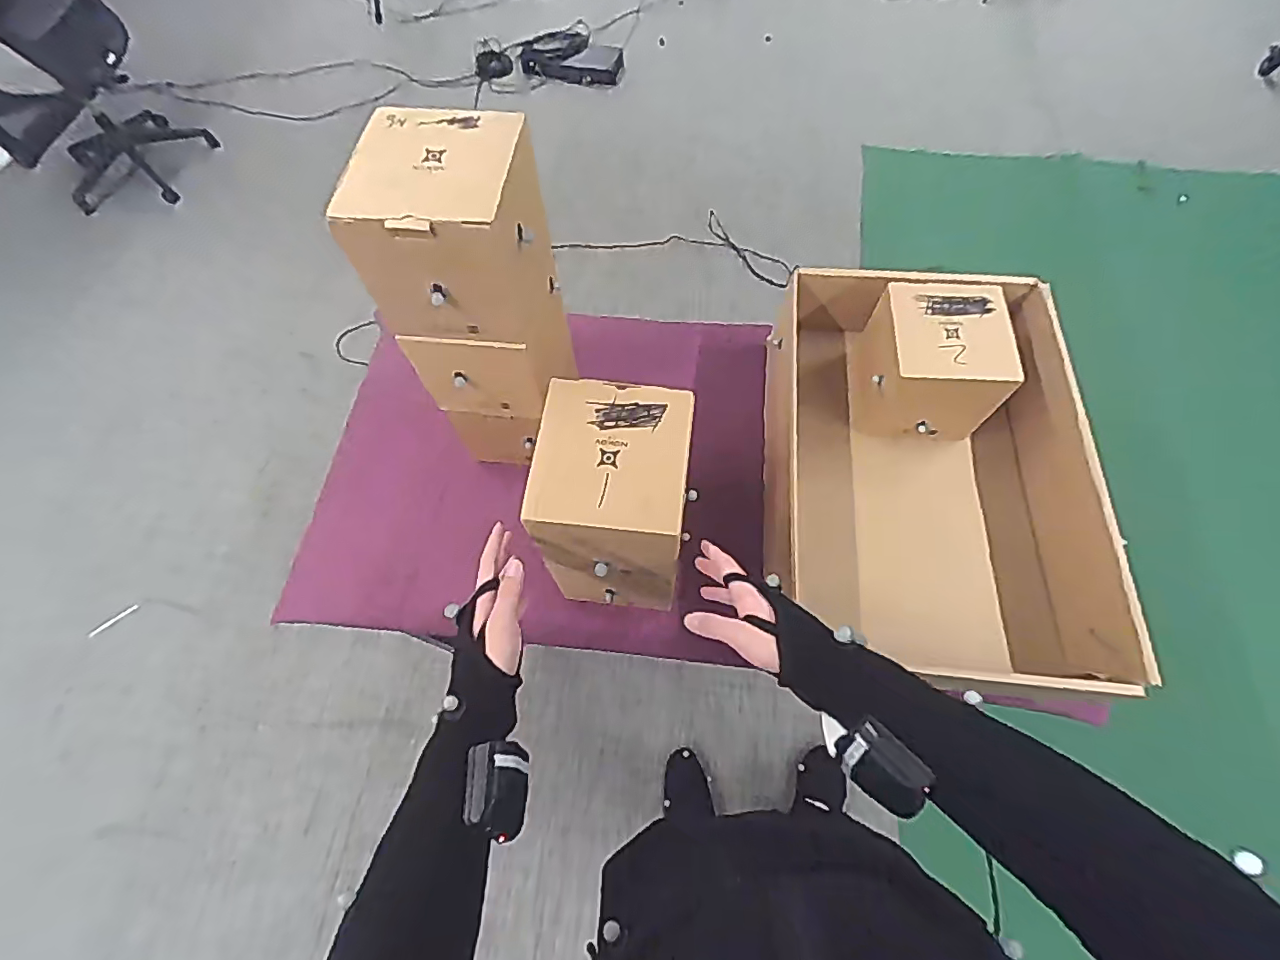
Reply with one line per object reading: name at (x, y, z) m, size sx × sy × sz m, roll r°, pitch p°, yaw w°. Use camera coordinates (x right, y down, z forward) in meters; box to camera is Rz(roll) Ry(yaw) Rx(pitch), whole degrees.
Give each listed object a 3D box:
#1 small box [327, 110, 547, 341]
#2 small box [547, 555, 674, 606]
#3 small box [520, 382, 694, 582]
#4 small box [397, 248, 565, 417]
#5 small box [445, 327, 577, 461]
small box at (-0.209, -0.280, 0.616) m, size 0.168 × 0.176 × 0.179 m, roll 5°, pitch 65°, yaw 3°
small box at (-0.027, 0.079, 0.797) m, size 0.168 × 0.176 × 0.179 m, roll 6°, pitch 64°, yaw 4°
small box at (-0.029, 0.008, 0.649) m, size 0.168 × 0.176 × 0.179 m, roll 6°, pitch 65°, yaw 5°
small box at (-0.207, -0.205, 0.762) m, size 0.168 × 0.176 × 0.179 m, roll 5°, pitch 64°, yaw 3°
small box at (-0.202, -0.140, 0.910) m, size 0.168 × 0.176 × 0.179 m, roll 6°, pitch 65°, yaw 3°
